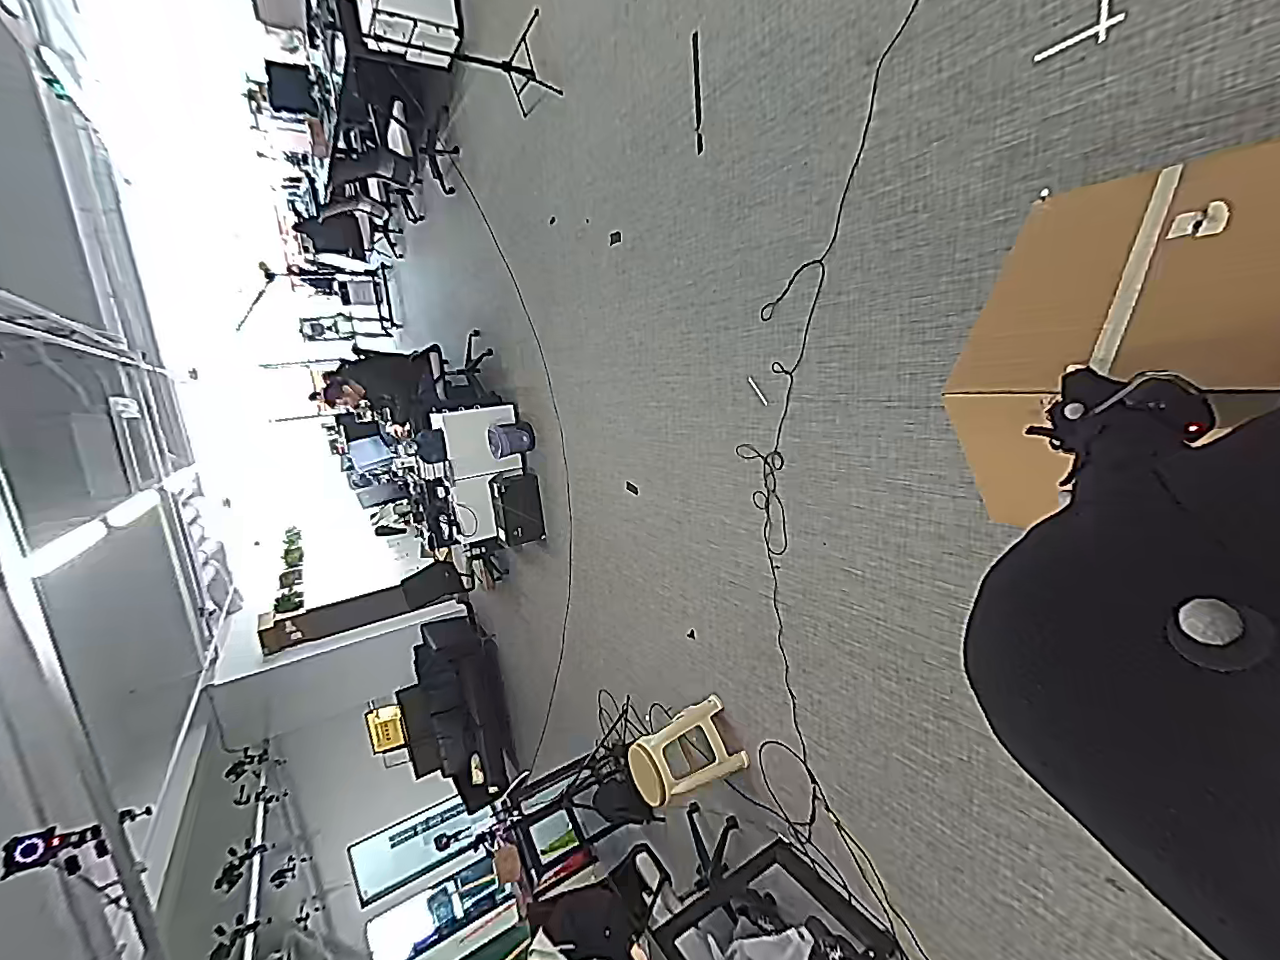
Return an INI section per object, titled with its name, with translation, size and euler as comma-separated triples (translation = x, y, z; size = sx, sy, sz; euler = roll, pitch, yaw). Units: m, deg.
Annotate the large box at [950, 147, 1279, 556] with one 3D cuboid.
[large box]
translation = 0.699, -0.163, 0.747
size = 0.320, 0.408, 0.320
euler = 12, 152, 52
